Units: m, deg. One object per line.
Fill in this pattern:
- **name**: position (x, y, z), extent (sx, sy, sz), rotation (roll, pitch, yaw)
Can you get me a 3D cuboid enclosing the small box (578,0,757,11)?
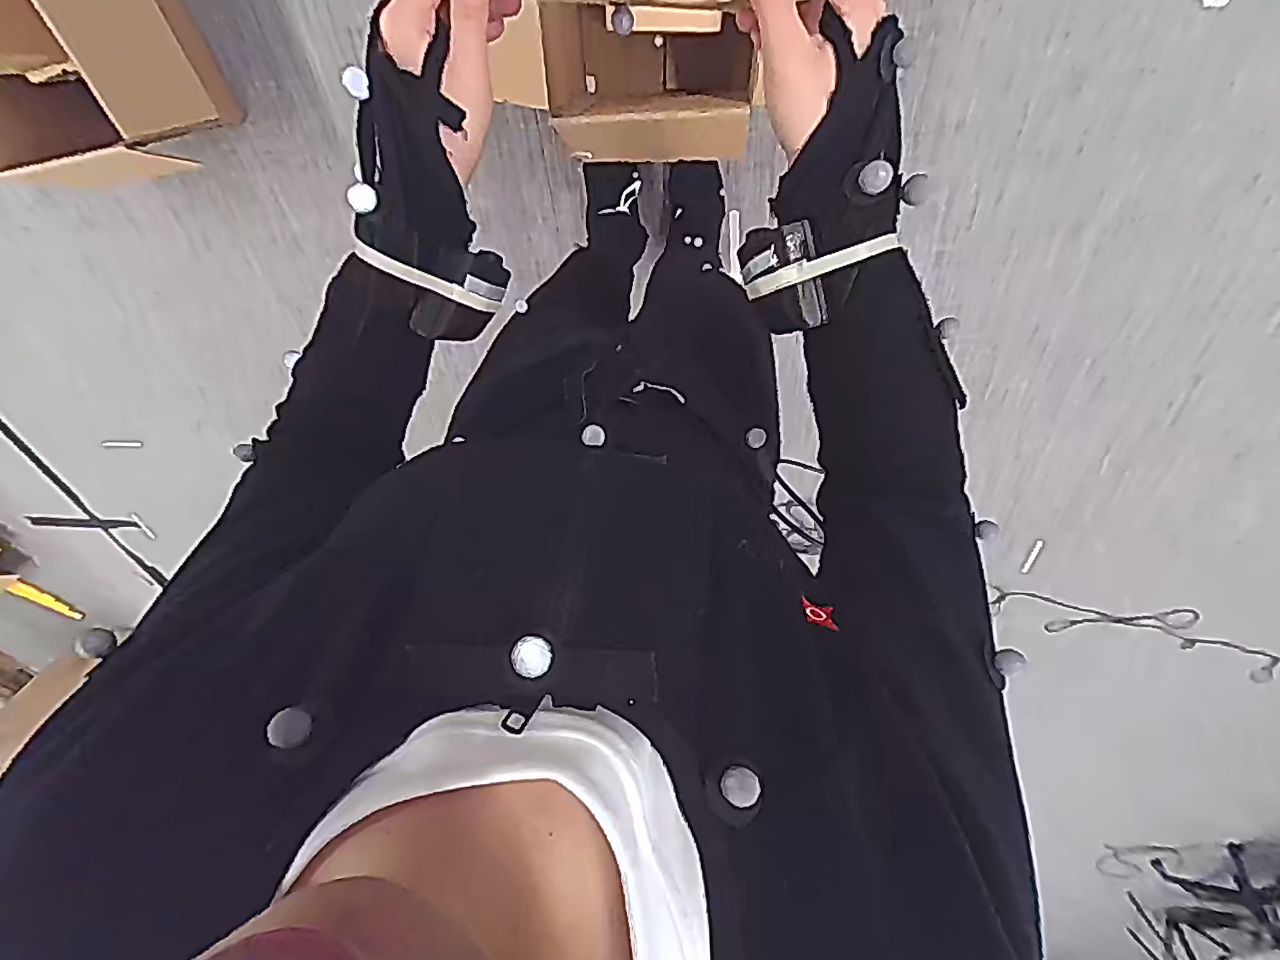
- **small box**: position (-0.006, -0.374, 0.287), extent (0.168, 0.176, 0.179), rotation (3, 130, -1)
